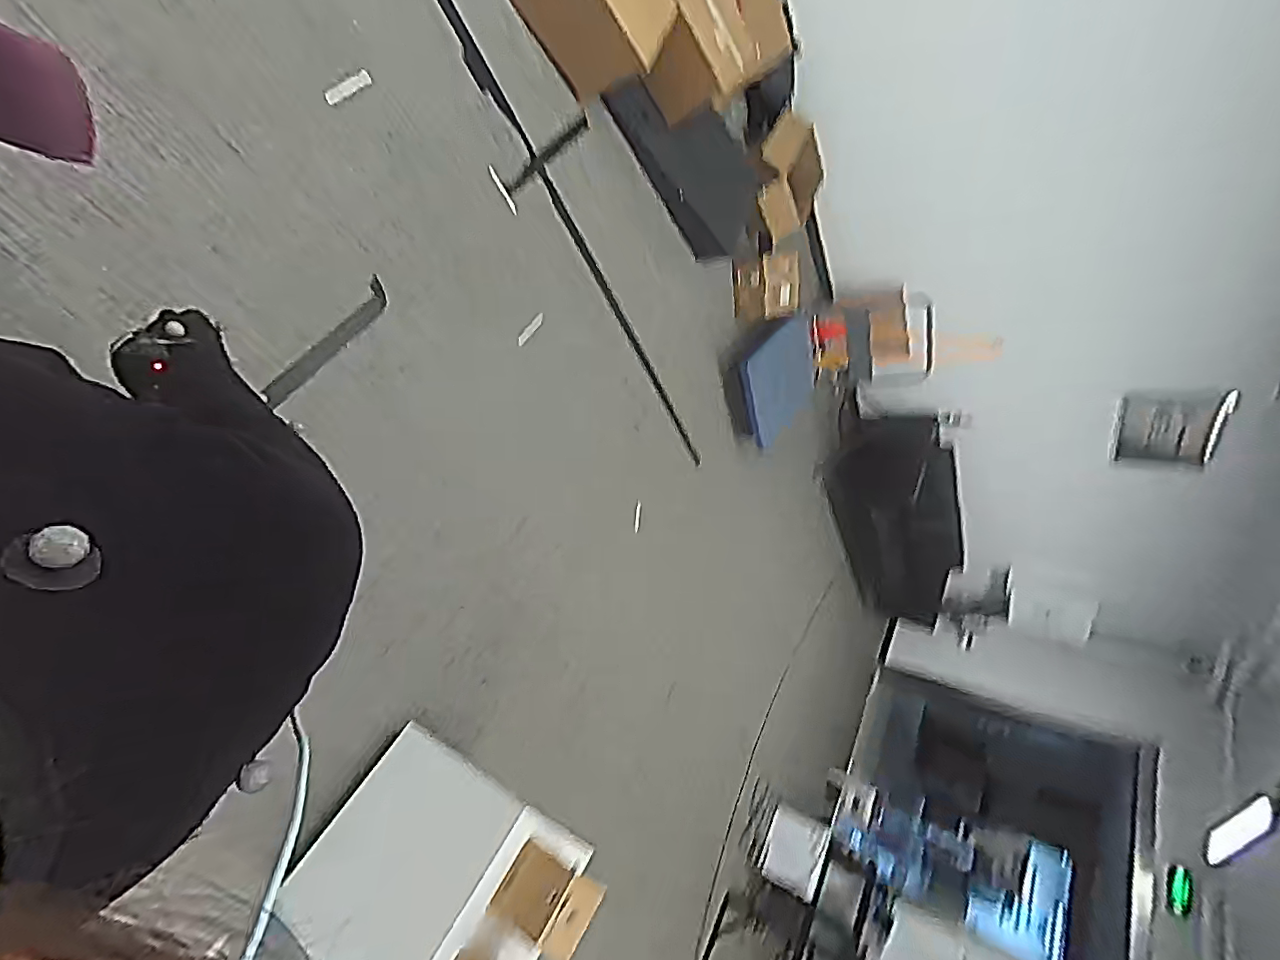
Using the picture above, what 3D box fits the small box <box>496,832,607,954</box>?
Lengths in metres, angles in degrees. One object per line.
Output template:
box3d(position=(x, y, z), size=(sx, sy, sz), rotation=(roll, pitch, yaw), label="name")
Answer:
box3d(position=(-0.217, 1.012, 1.334), size=(0.168, 0.176, 0.179), rotation=(-54, 135, -30), label="small box")
